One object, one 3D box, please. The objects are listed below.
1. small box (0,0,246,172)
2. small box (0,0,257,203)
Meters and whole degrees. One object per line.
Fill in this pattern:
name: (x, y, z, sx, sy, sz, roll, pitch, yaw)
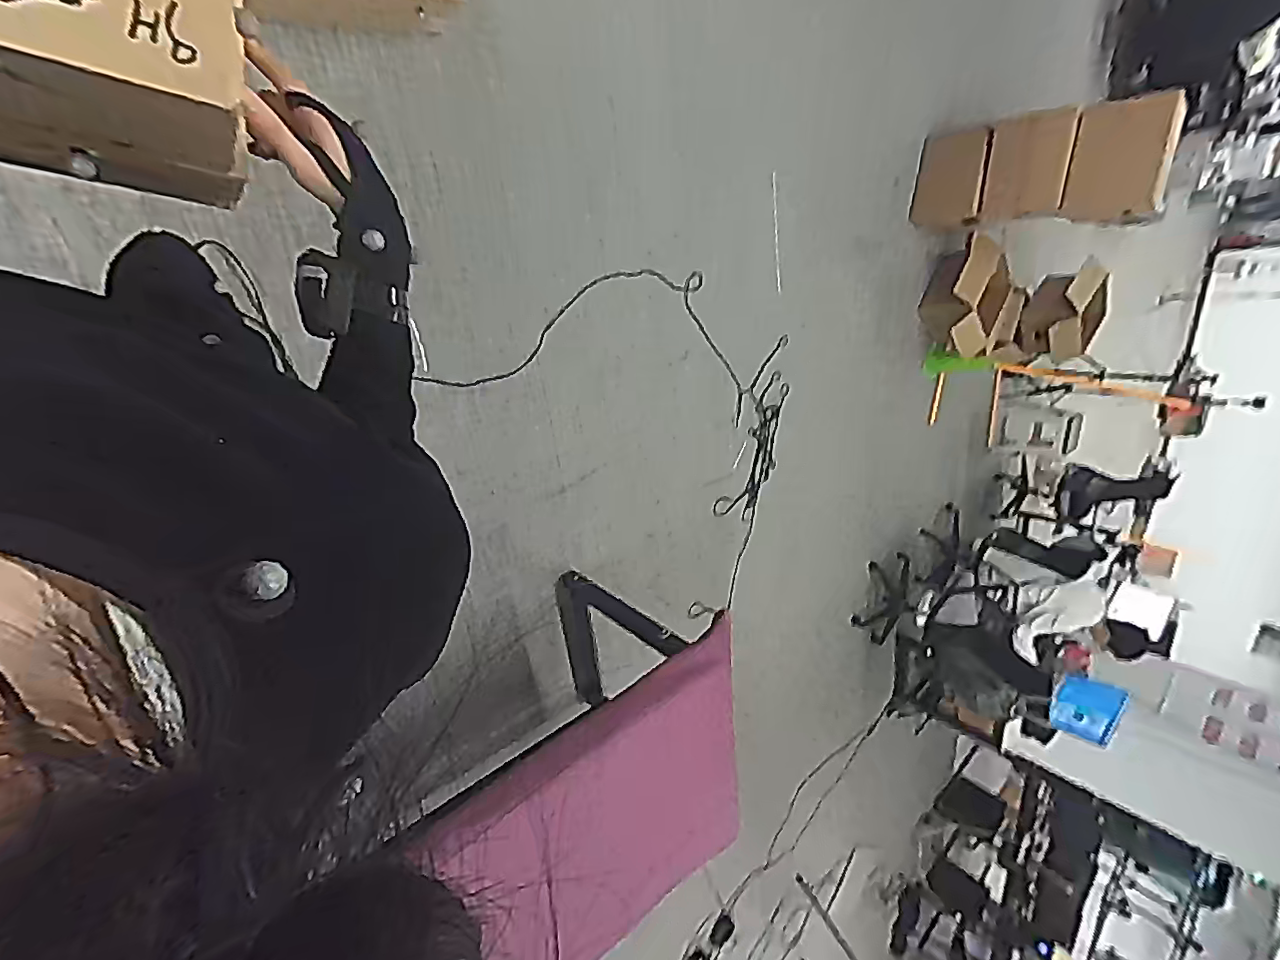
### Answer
small box: (-0.307, -0.288, 0.274, 0.168, 0.176, 0.179, -3, 105, -36)
small box: (-0.400, -0.324, 0.406, 0.179, 0.176, 0.168, -1, 104, -36)
